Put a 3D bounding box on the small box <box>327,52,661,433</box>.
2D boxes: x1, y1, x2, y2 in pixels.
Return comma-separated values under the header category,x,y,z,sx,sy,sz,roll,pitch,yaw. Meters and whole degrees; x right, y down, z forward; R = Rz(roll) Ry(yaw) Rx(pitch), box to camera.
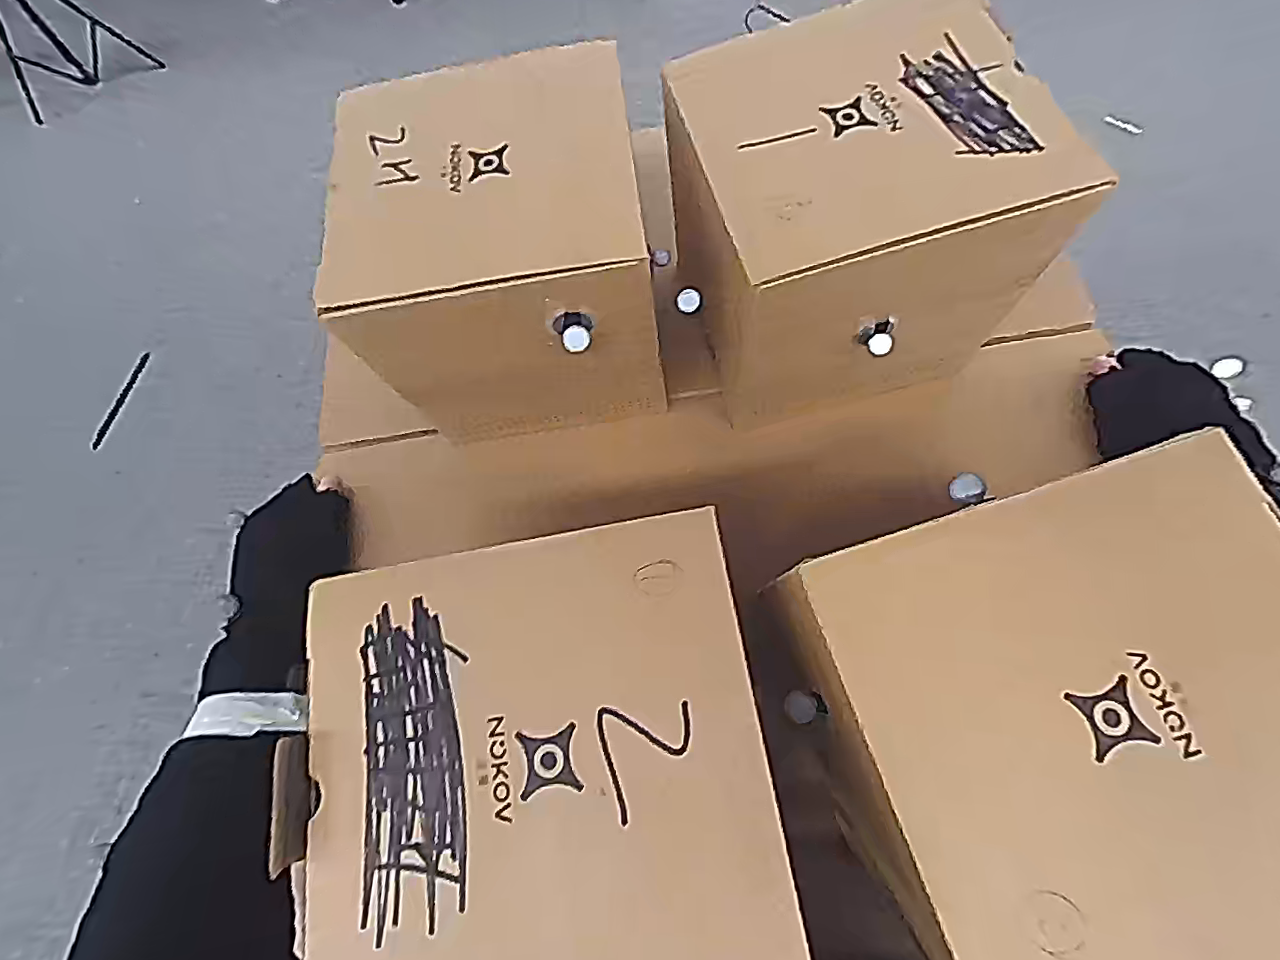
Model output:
category,x,y,z,sx,sy,sz,roll,pitch,yaw
small box,-0.079,-0.147,0.383,0.179,0.176,0.168,-7,69,5
